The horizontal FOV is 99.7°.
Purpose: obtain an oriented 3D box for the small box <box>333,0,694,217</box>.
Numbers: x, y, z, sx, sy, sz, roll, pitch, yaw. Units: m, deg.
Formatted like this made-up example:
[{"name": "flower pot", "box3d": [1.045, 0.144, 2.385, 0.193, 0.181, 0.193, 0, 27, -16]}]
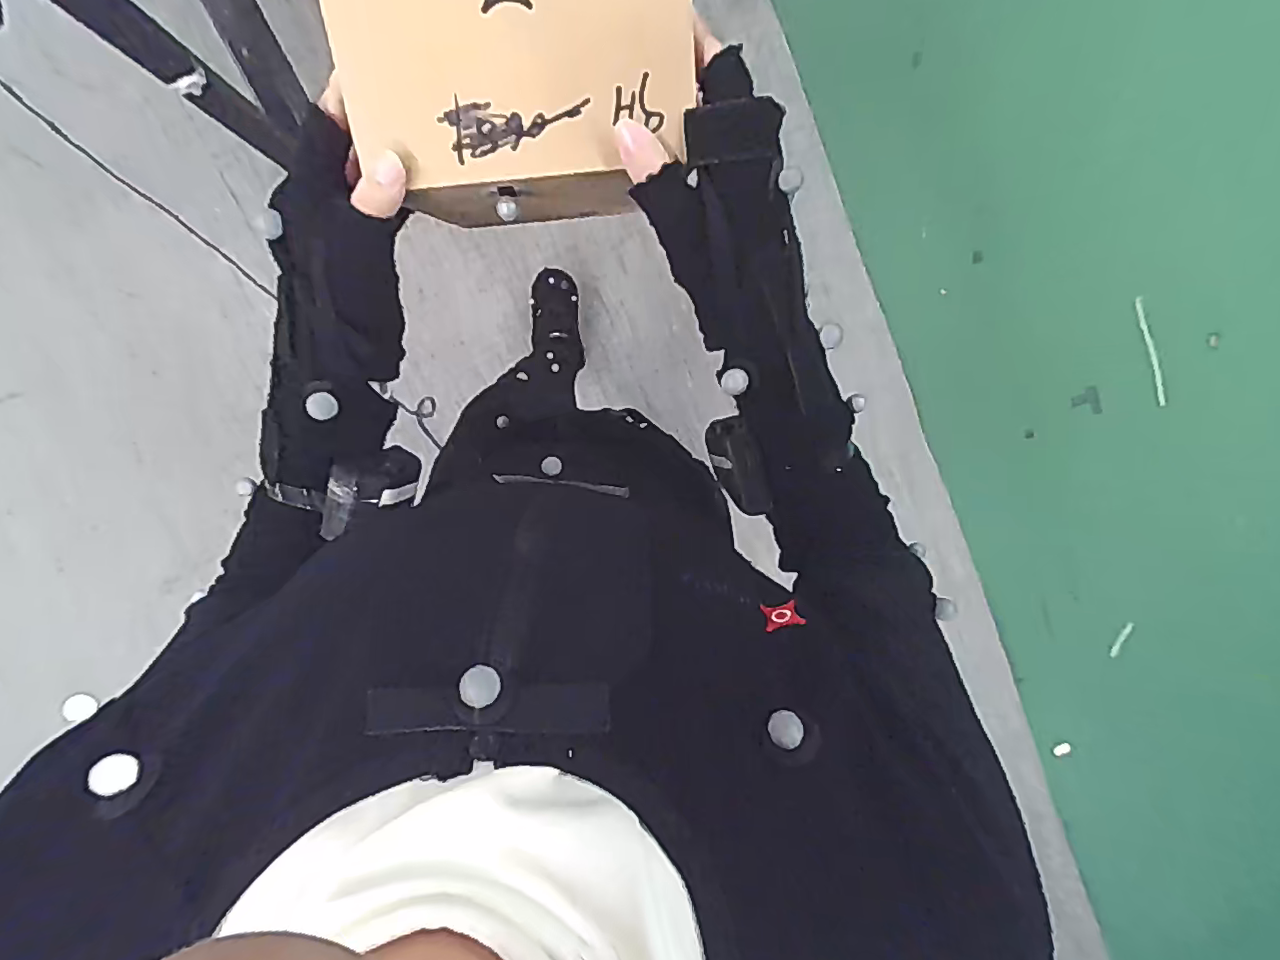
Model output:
[{"name": "small box", "box3d": [-0.063, -0.266, 0.317, 0.168, 0.176, 0.179, -5, 110, 0]}]
